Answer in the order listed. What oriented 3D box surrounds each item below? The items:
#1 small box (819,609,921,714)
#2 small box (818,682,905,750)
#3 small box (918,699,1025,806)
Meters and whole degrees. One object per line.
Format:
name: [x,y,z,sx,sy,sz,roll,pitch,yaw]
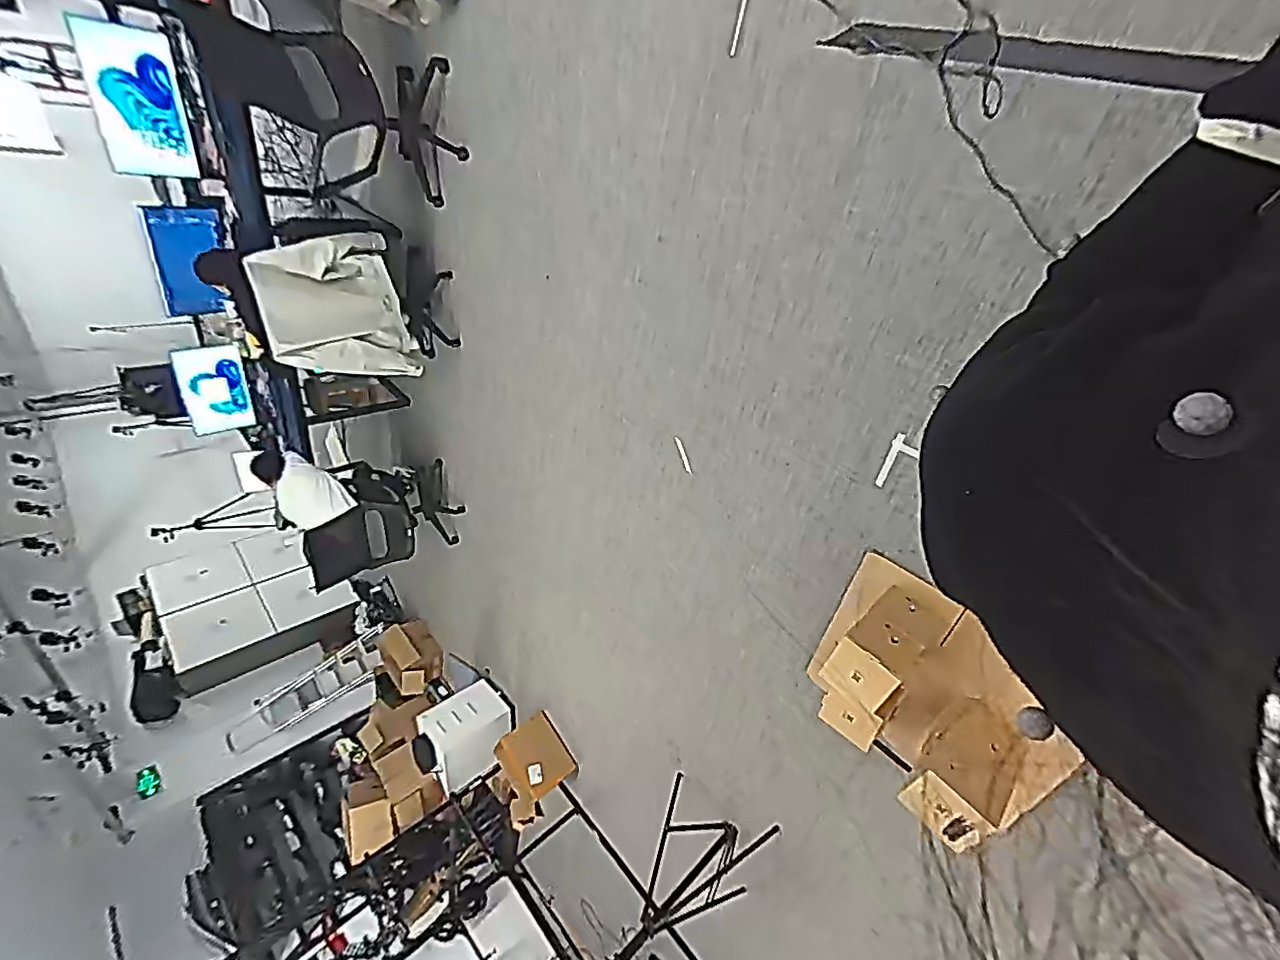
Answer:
small box: [0.628,0.489,1.471,0.168,0.176,0.179,39,131,30]
small box: [0.708,0.709,1.733,0.179,0.176,0.168,32,129,36]
small box: [0.927,0.755,1.509,0.179,0.176,0.168,43,133,25]
